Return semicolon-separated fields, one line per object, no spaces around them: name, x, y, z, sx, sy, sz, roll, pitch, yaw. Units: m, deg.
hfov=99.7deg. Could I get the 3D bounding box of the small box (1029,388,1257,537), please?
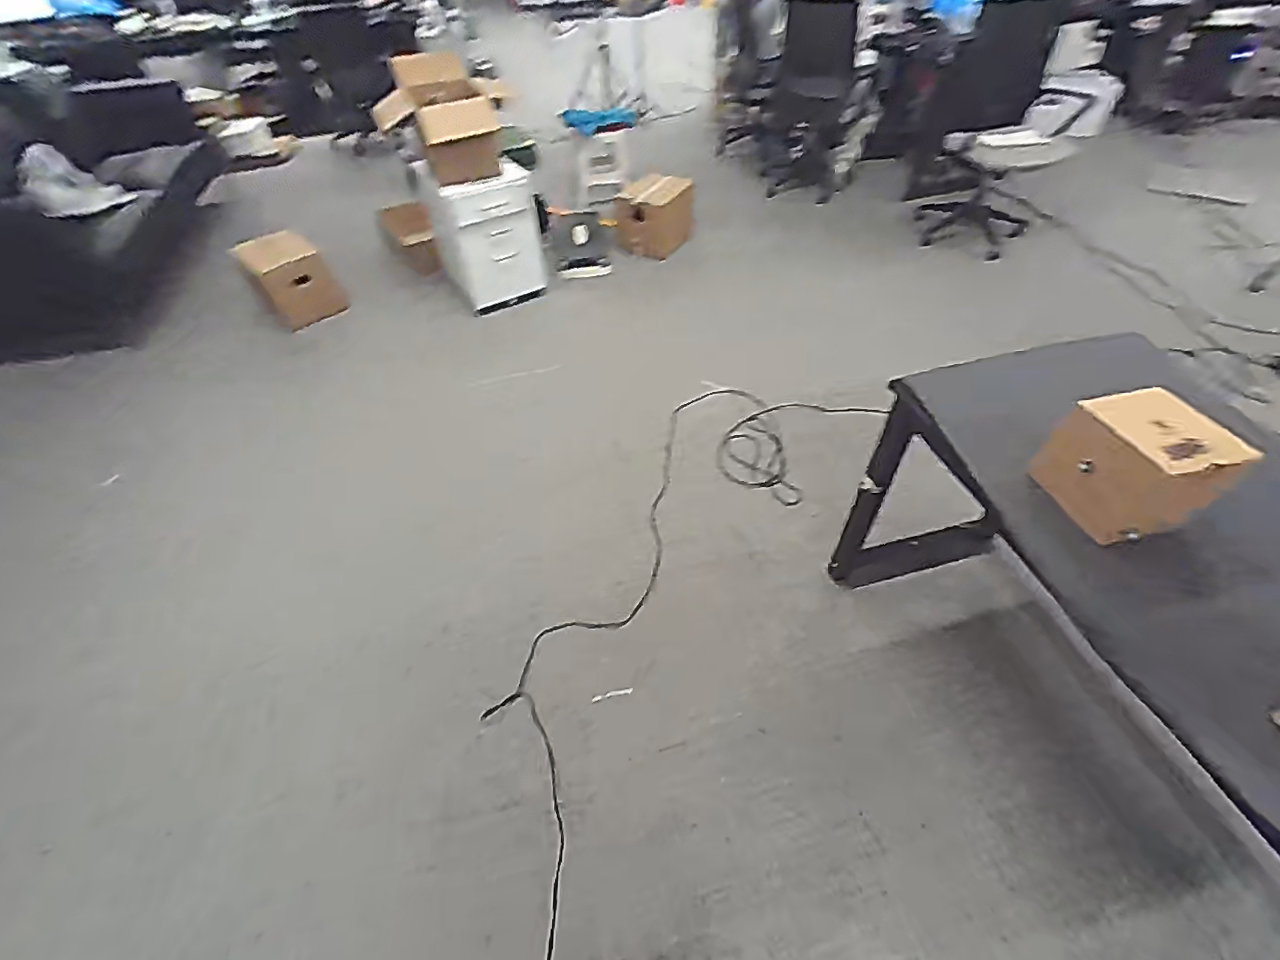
small box;0.801;-0.023;0.887;0.168;0.176;0.179;-10;47;-8
